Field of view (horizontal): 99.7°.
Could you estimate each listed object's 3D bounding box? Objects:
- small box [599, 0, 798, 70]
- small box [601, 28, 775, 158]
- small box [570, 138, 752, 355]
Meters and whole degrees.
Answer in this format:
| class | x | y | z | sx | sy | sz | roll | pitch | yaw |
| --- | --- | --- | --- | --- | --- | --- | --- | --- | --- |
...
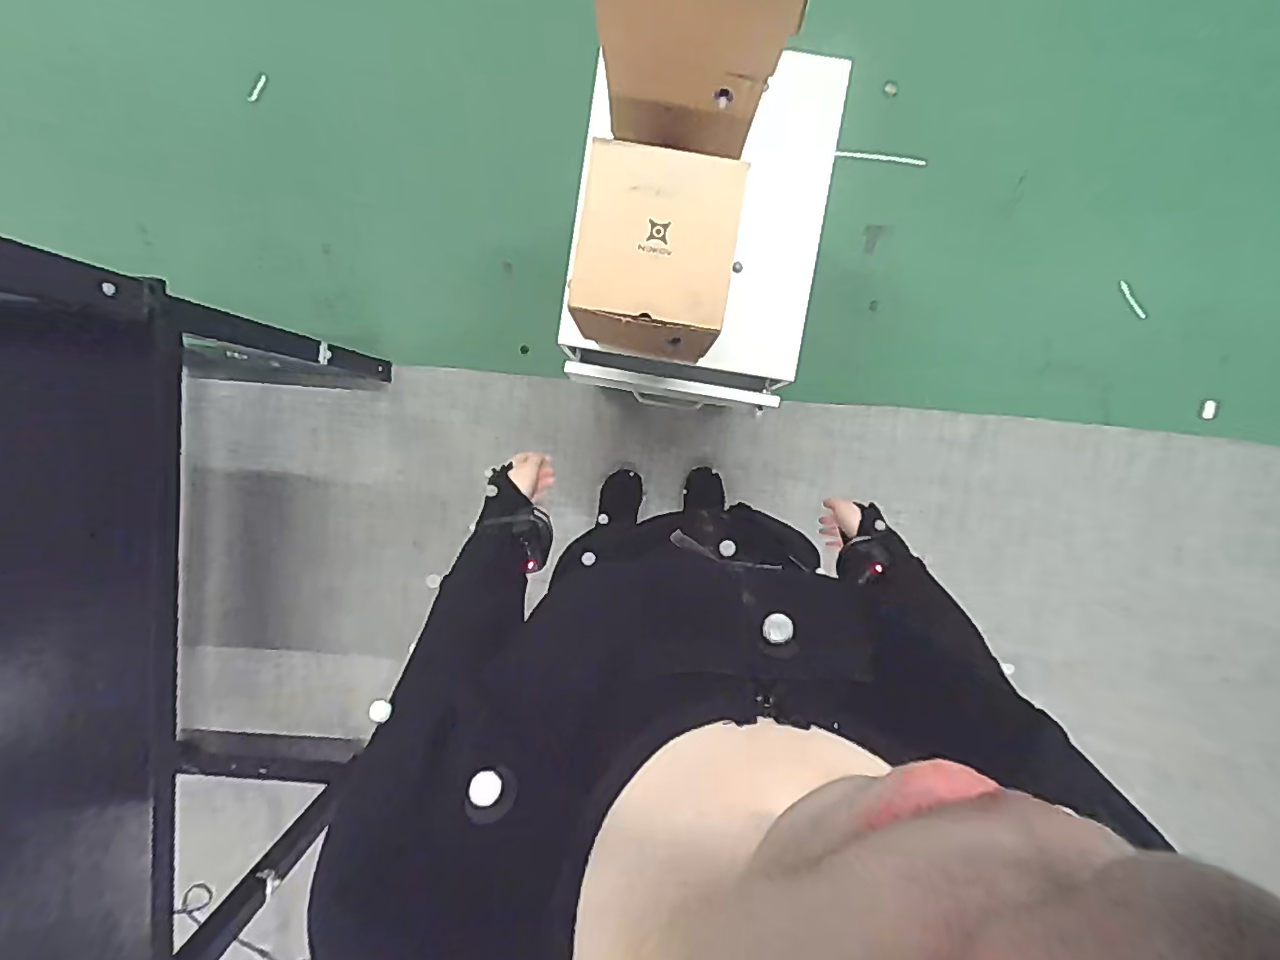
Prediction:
| class | x | y | z | sx | sy | sz | roll | pitch | yaw |
| --- | --- | --- | --- | --- | --- | --- | --- | --- | --- |
| small box | 0.056 | -0.480 | 0.444 | 0.179 | 0.176 | 0.168 | 5 | 95 | -1 |
| small box | 0.062 | -0.497 | 0.608 | 0.179 | 0.176 | 0.168 | 12 | 94 | -1 |
| small box | 0.021 | -0.250 | 0.625 | 0.168 | 0.176 | 0.179 | 8 | 93 | -1 |
